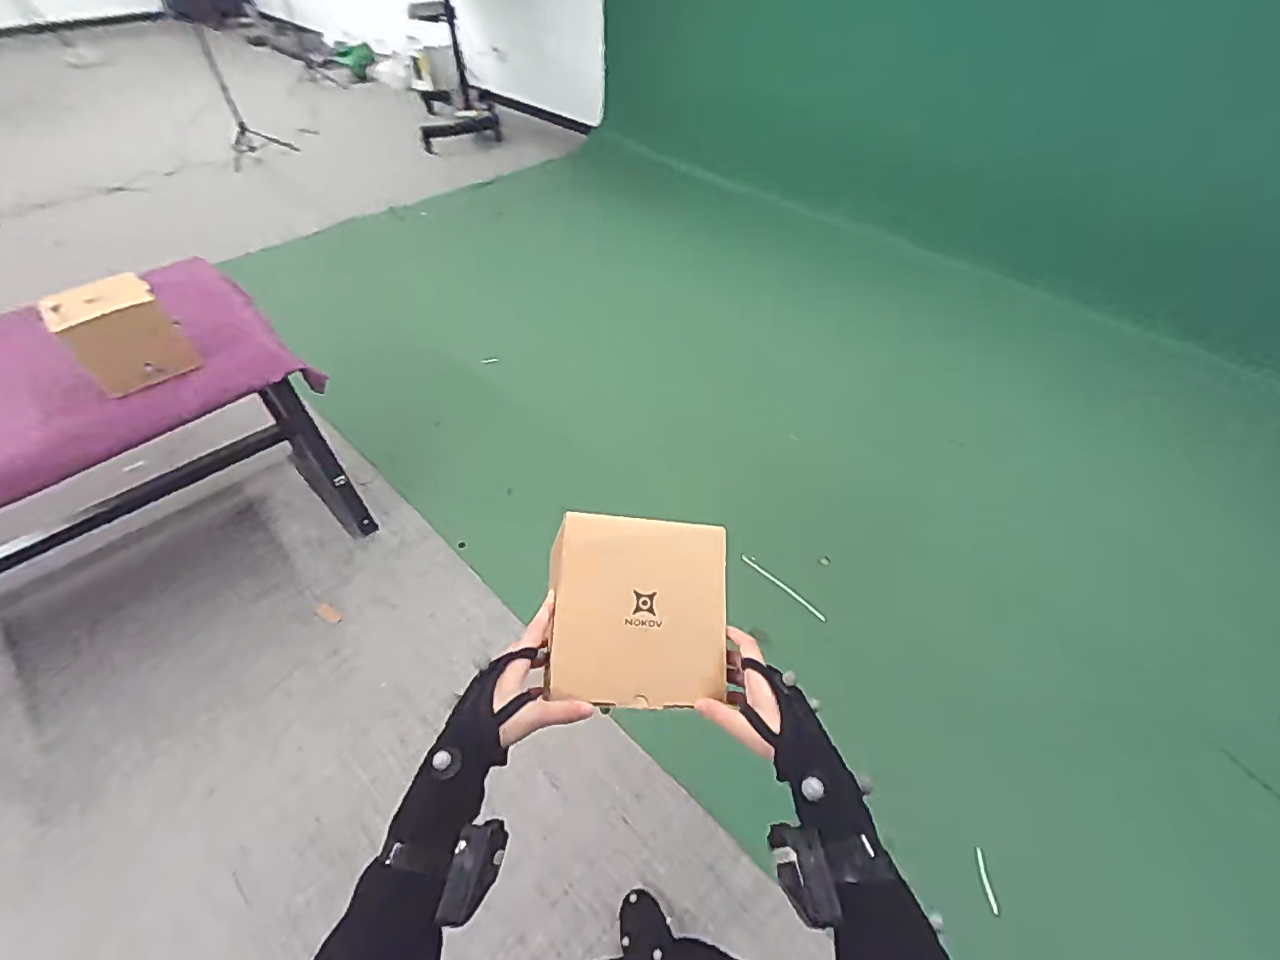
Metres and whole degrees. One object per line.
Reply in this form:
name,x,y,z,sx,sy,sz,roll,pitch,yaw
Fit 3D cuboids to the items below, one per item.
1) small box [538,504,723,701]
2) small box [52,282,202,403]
small box,-0.018,0.140,0.582,0.168,0.176,0.179,6,70,-11
small box,-1.105,-0.300,1.181,0.179,0.176,0.168,-35,55,-28
